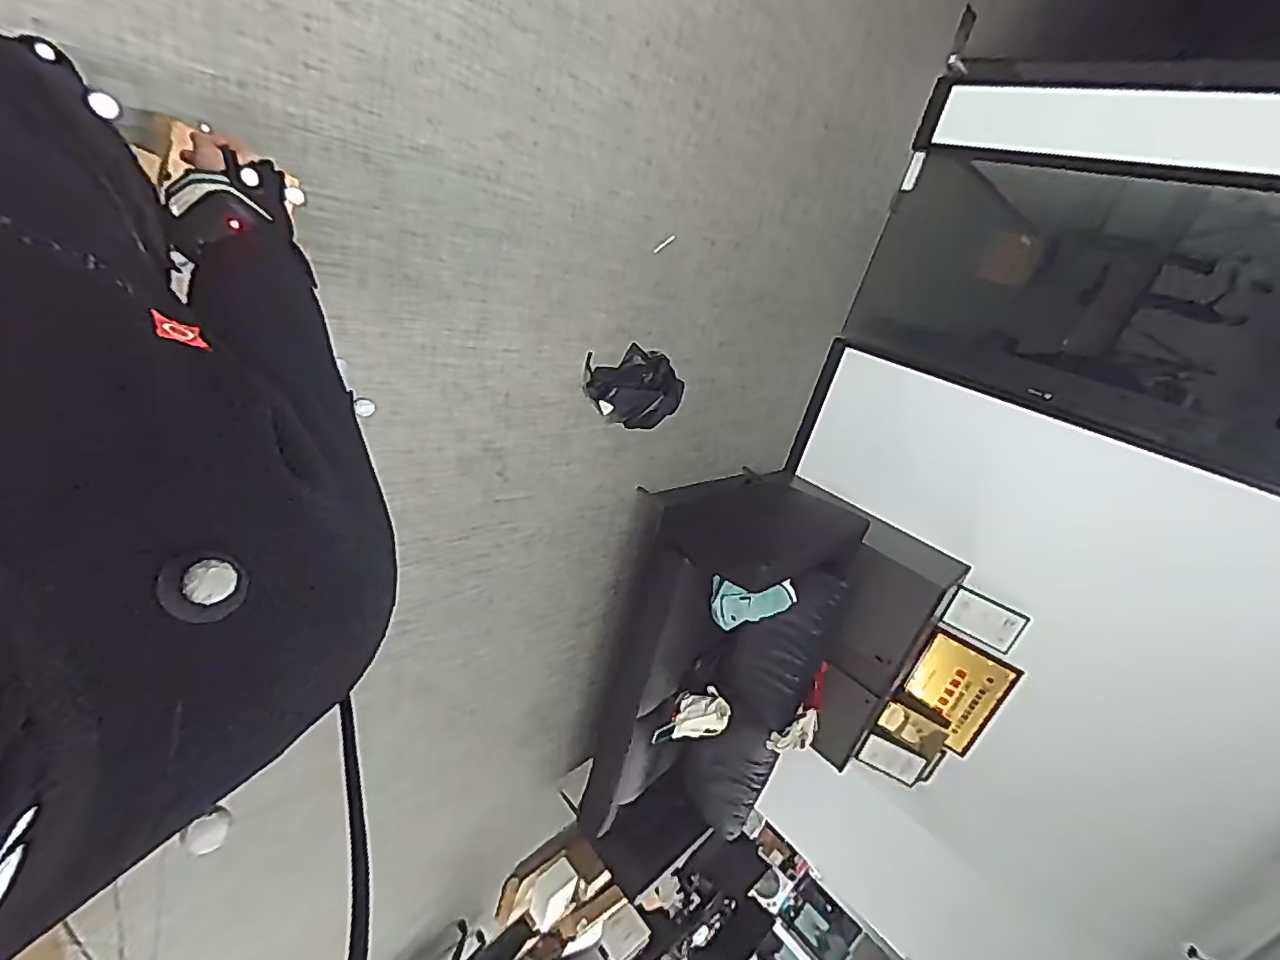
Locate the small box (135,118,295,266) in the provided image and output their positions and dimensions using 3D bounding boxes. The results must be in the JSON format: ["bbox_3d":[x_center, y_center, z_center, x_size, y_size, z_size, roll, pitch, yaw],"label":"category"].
[{"bbox_3d":[-0.751,-0.508,0.953,0.179,0.176,0.168,8,112,-51],"label":"small box"}]
